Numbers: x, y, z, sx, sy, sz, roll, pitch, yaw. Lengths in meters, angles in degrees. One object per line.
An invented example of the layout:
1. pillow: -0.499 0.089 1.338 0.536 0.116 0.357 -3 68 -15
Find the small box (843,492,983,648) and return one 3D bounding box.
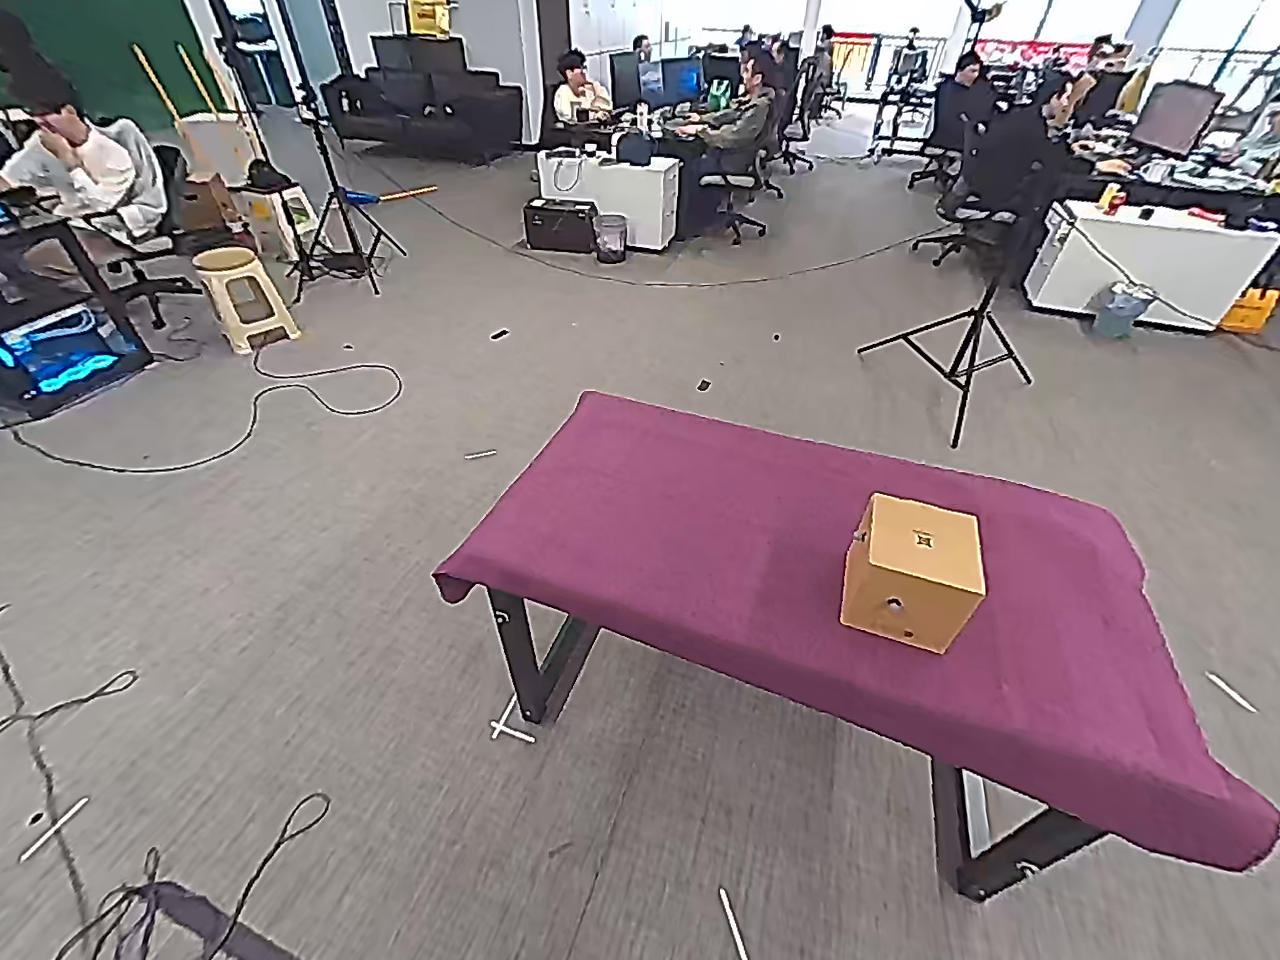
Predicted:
1. small box: 0.452 0.153 0.916 0.168 0.176 0.179 14 43 15
